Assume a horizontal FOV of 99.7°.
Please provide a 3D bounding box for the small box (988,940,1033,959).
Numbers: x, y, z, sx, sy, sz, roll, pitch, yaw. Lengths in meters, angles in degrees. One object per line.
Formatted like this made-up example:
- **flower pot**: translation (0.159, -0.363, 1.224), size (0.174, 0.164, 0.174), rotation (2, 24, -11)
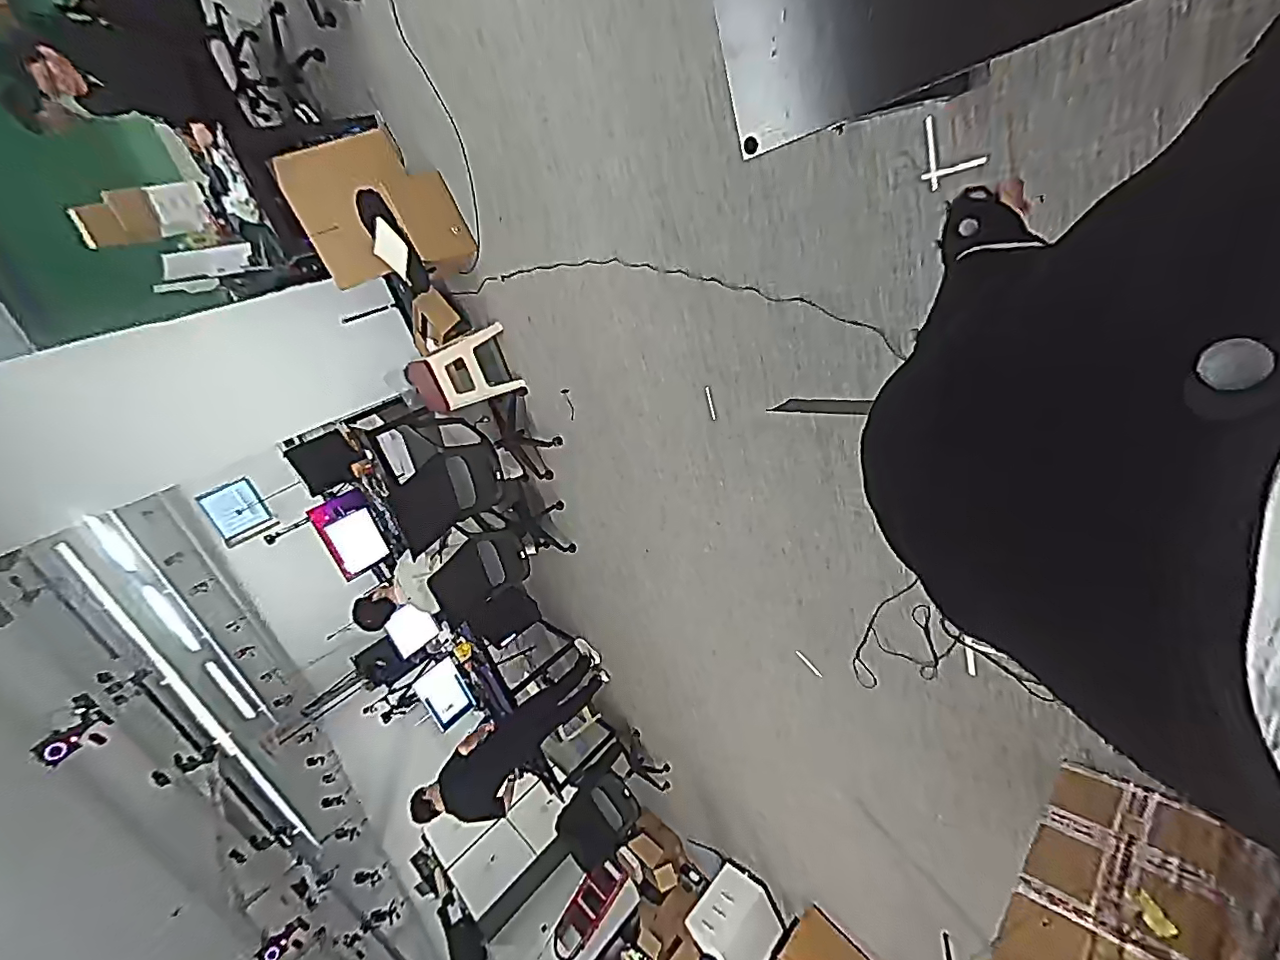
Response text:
- **small box**: translation (0.977, 1.331, 1.361), size (0.179, 0.176, 0.168), rotation (0, 115, 53)

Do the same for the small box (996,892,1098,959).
- **small box**: translation (1.097, 1.266, 1.455), size (0.179, 0.176, 0.168), rotation (1, 115, 53)
